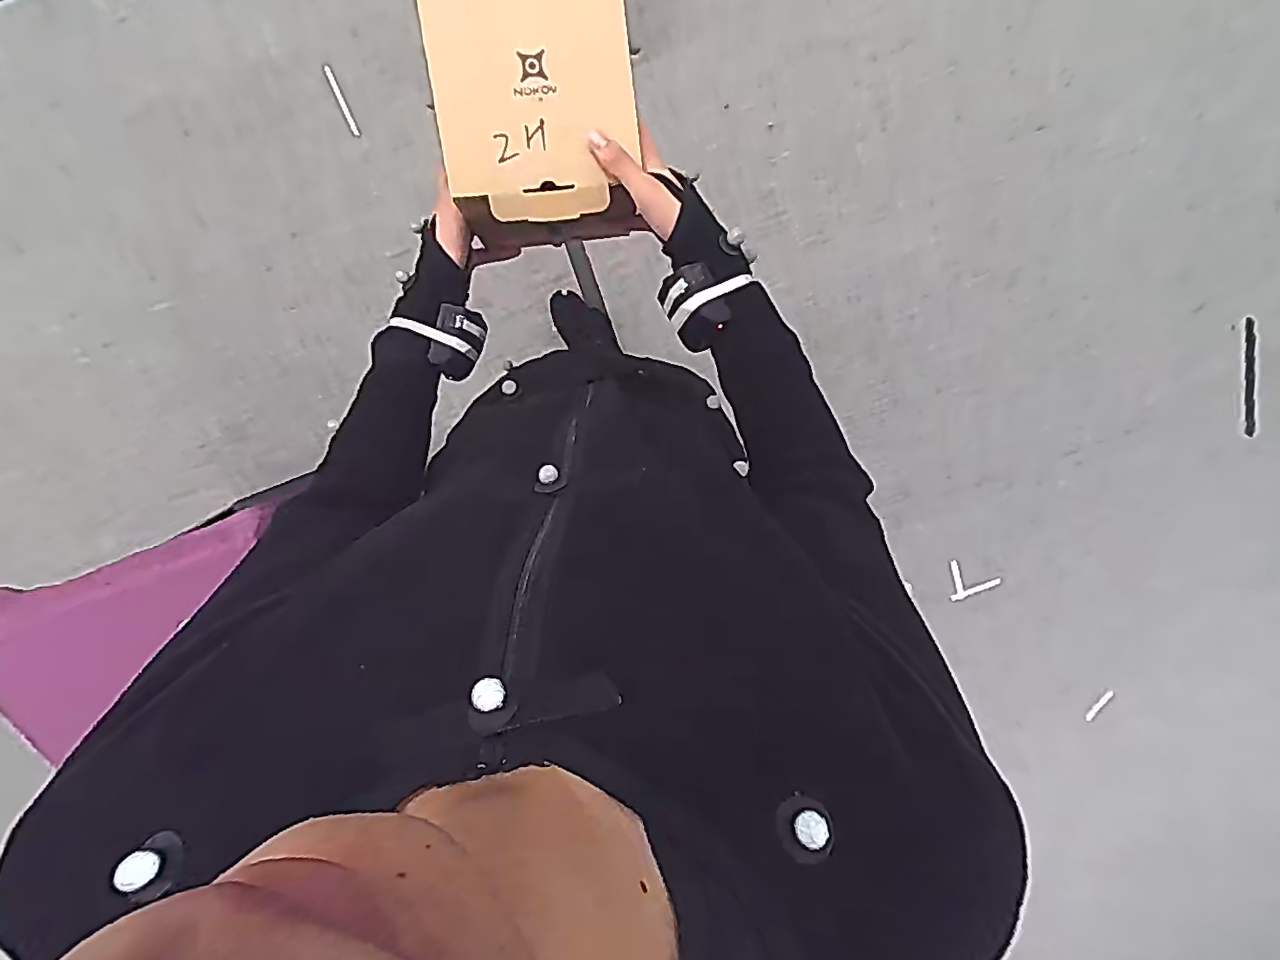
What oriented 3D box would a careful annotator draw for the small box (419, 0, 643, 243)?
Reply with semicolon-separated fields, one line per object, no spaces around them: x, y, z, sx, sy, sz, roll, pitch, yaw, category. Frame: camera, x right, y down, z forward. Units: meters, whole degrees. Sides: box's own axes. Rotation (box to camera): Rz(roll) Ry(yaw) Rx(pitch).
-0.095;-0.345;0.513;0.168;0.176;0.179;-8;100;-4;small box
